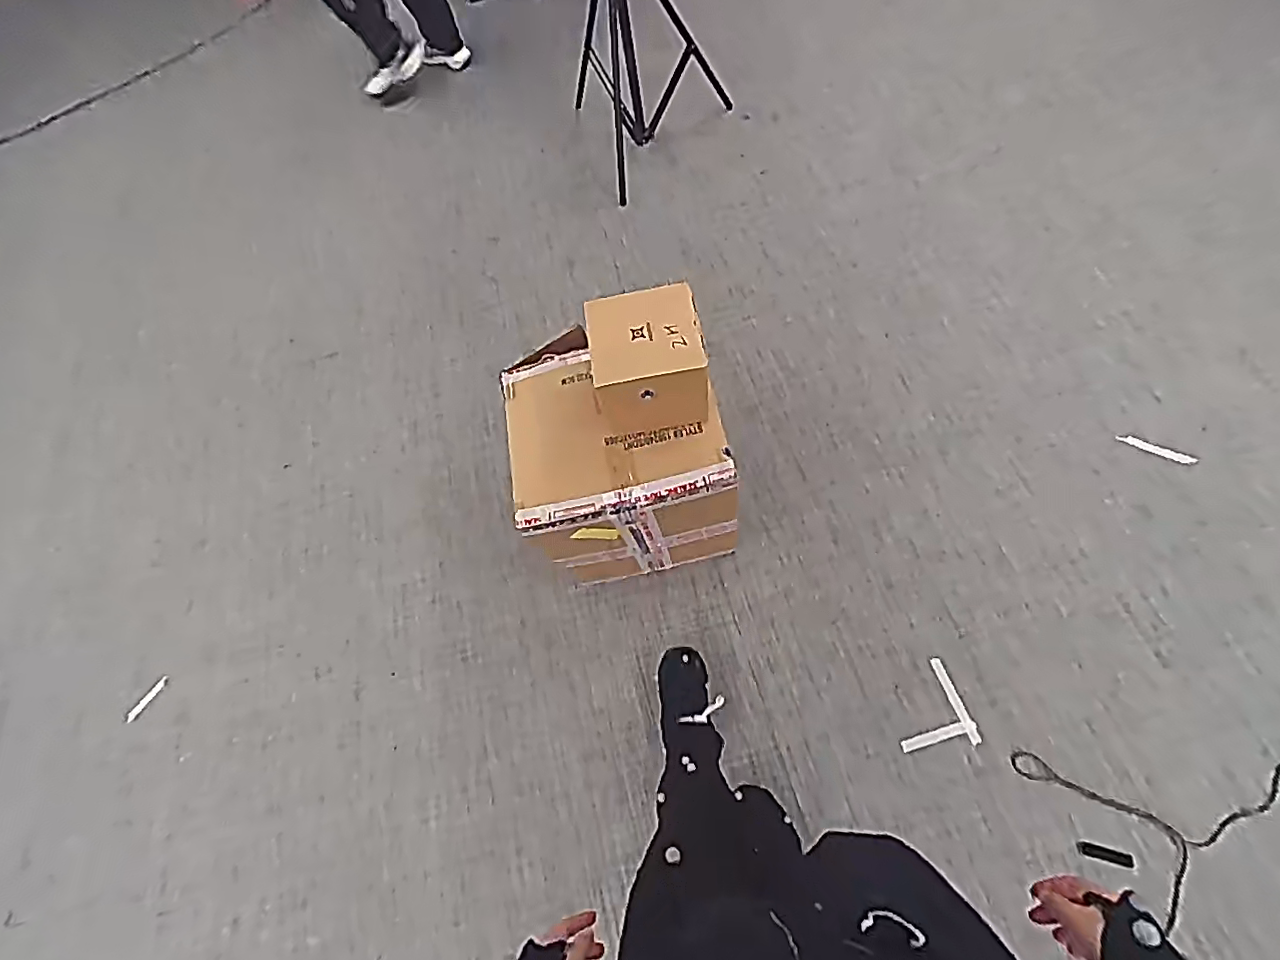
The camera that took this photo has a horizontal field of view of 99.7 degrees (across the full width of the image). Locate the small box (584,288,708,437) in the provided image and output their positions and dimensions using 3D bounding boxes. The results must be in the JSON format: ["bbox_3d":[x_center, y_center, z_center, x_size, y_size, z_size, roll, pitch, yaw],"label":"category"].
[{"bbox_3d":[0.015,-0.187,0.906,0.179,0.176,0.168,-10,67,3],"label":"small box"}]
